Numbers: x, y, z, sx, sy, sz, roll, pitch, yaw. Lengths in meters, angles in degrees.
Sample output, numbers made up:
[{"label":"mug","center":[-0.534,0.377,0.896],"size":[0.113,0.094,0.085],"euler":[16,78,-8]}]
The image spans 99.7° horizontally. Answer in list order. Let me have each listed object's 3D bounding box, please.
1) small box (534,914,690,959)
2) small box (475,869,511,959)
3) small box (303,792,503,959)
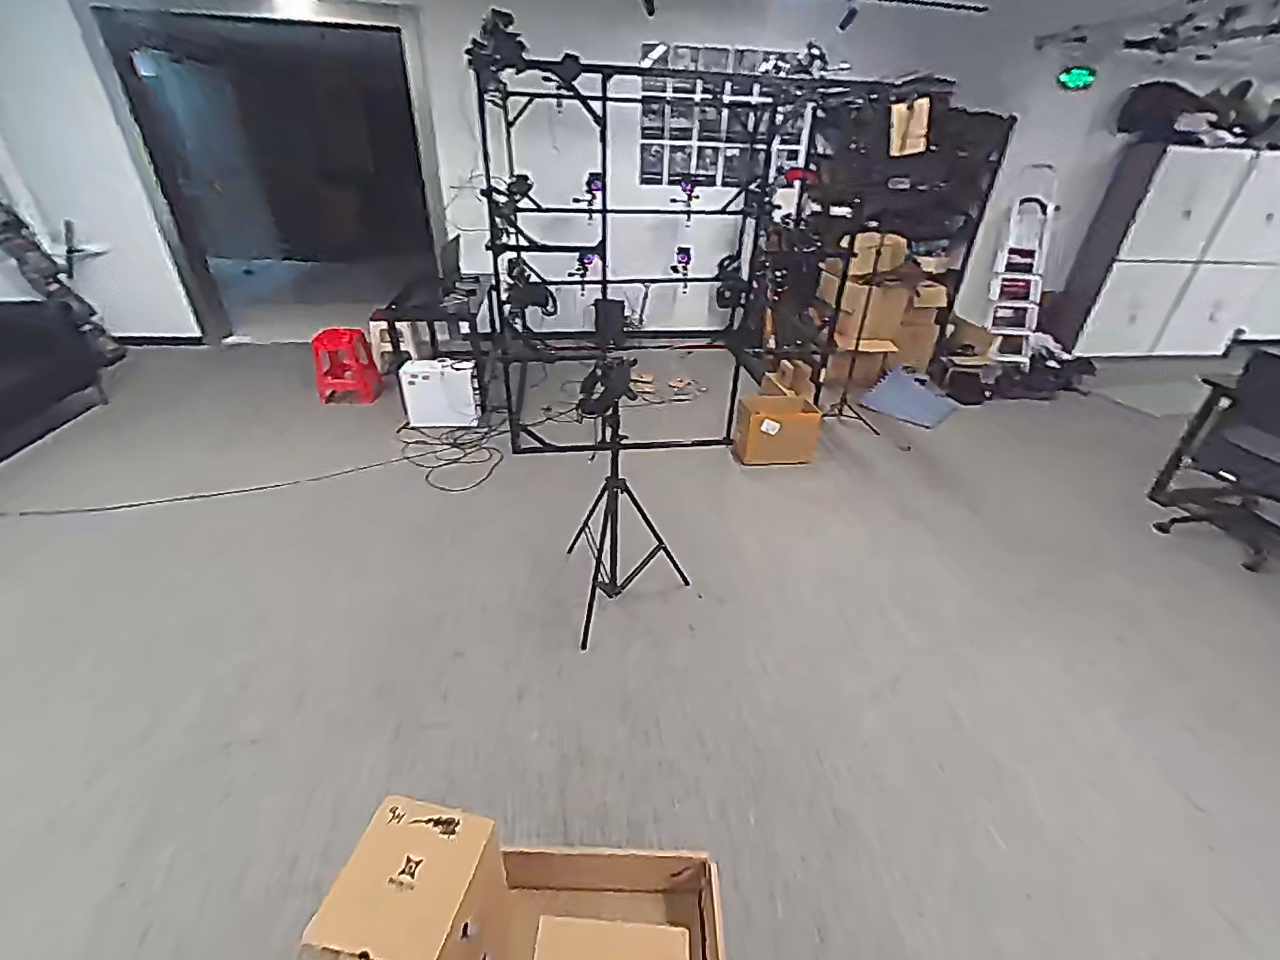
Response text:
[{"label":"small box","center":[-0.039,0.626,0.610],"size":[0.179,0.176,0.168],"euler":[4,34,1]},{"label":"small box","center":[-0.302,0.703,0.808],"size":[0.168,0.176,0.179],"euler":[6,30,7]},{"label":"small box","center":[-0.295,0.564,0.720],"size":[0.168,0.176,0.179],"euler":[8,31,10]}]
